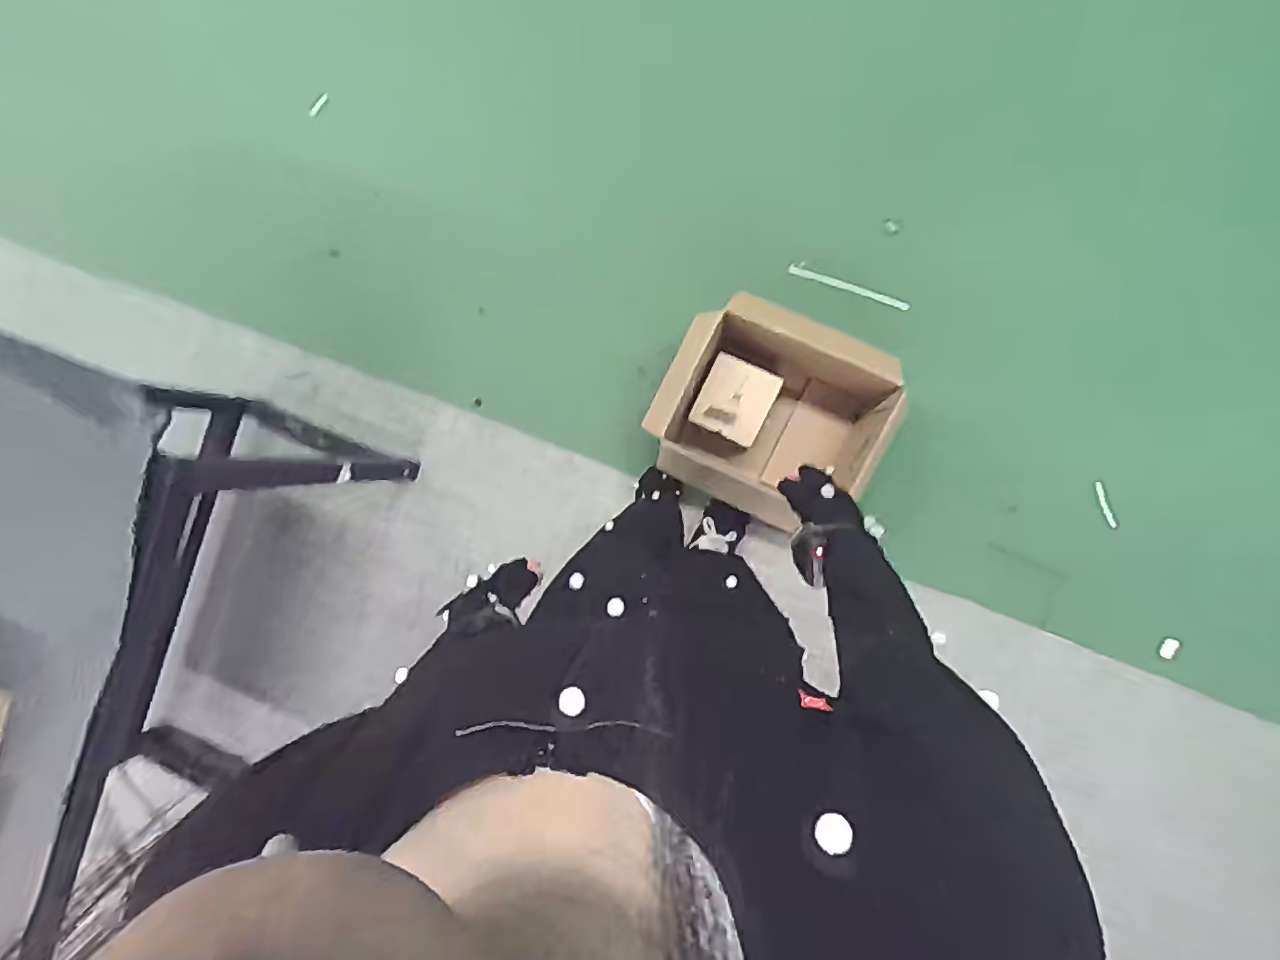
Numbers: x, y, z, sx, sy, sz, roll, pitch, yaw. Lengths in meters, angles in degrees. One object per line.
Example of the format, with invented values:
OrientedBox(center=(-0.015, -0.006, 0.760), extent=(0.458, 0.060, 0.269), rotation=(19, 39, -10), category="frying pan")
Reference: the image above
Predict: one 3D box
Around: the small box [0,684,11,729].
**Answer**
OrientedBox(center=(-1.188, 0.402, 0.858), extent=(0.179, 0.176, 0.168), rotation=(20, 94, 7), category="small box")
